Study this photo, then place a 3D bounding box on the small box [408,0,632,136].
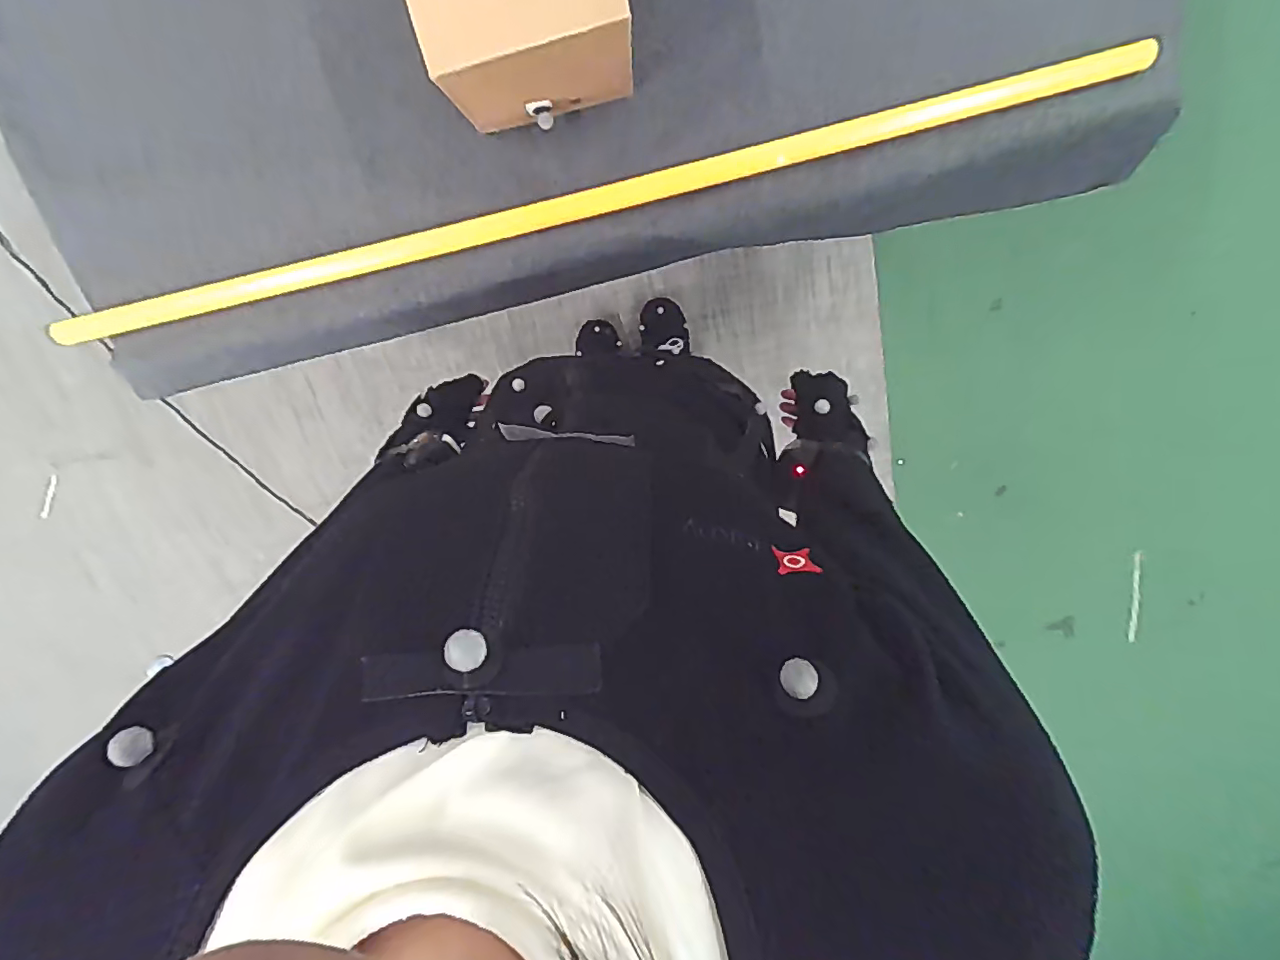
[{"bbox_3d":[-0.107,-0.440,0.474,0.168,0.176,0.179,-14,108,5],"label":"small box"}]
